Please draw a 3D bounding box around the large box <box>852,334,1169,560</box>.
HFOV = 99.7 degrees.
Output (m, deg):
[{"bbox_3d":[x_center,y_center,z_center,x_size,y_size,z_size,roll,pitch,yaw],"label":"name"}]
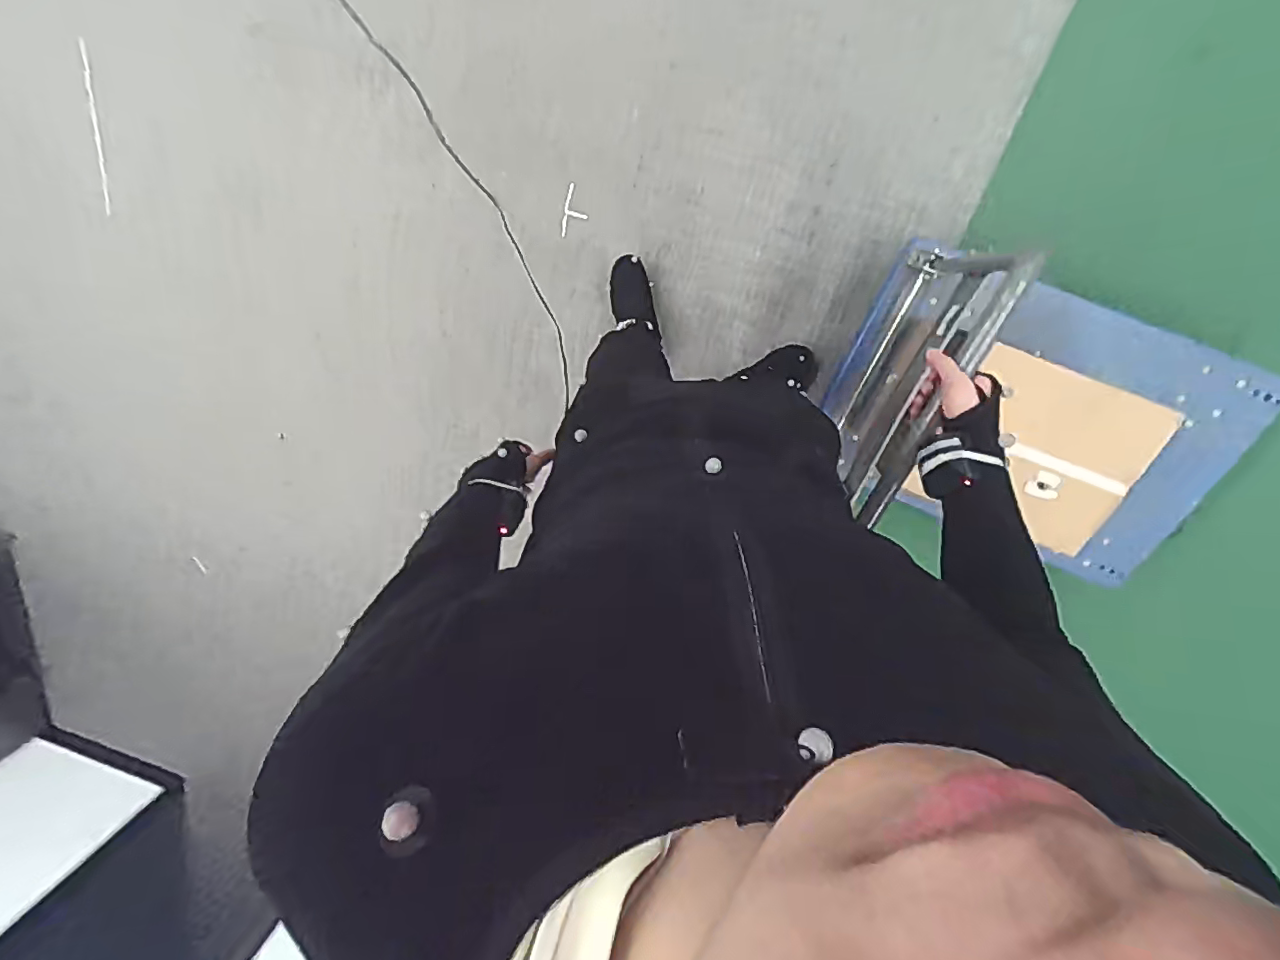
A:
[{"bbox_3d":[0.736,-0.091,1.164,0.408,0.320,0.320,23,113,2],"label":"large box"}]
